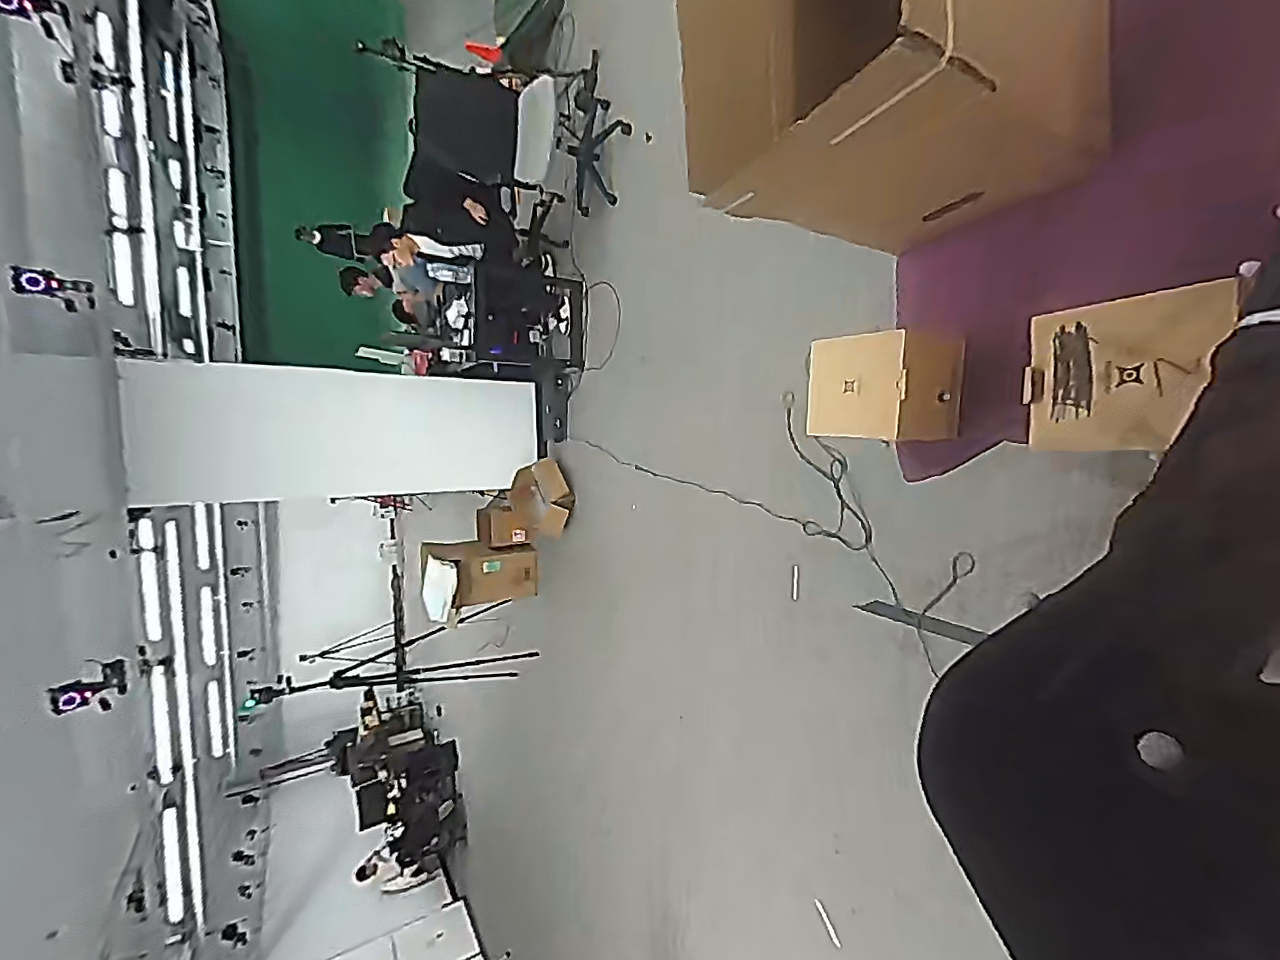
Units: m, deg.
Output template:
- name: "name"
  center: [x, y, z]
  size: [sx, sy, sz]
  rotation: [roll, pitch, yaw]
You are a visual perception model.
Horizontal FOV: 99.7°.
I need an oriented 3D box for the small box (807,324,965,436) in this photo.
- name: "small box"
  center: [0.410, -0.162, 0.913]
  size: [0.179, 0.176, 0.168]
  rotation: [11, 102, 56]
